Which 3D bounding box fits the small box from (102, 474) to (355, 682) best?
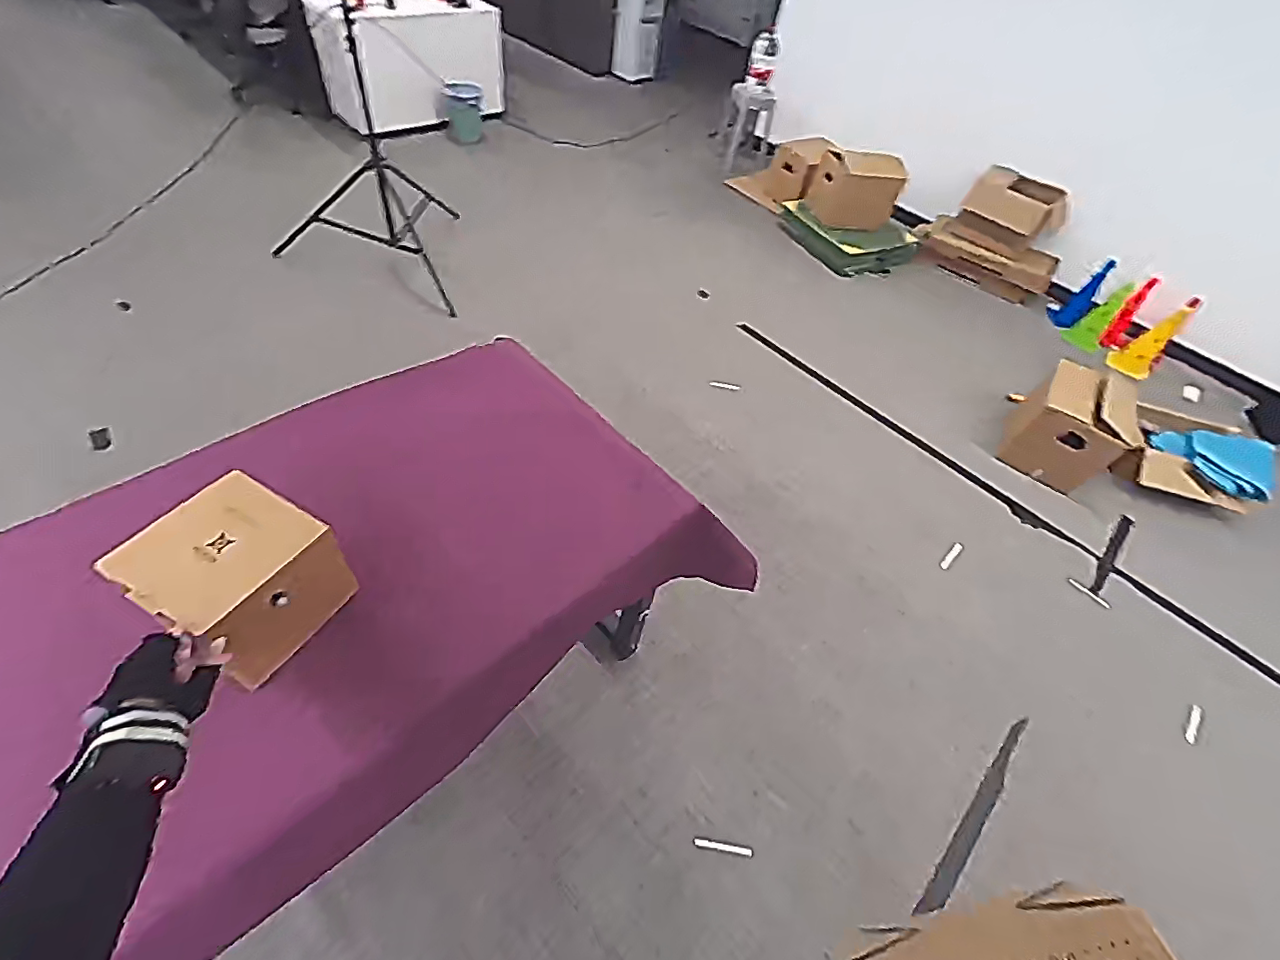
[{"bbox_3d":[-0.512,0.132,0.708,0.168,0.176,0.179,28,51,11],"label":"small box"}]
